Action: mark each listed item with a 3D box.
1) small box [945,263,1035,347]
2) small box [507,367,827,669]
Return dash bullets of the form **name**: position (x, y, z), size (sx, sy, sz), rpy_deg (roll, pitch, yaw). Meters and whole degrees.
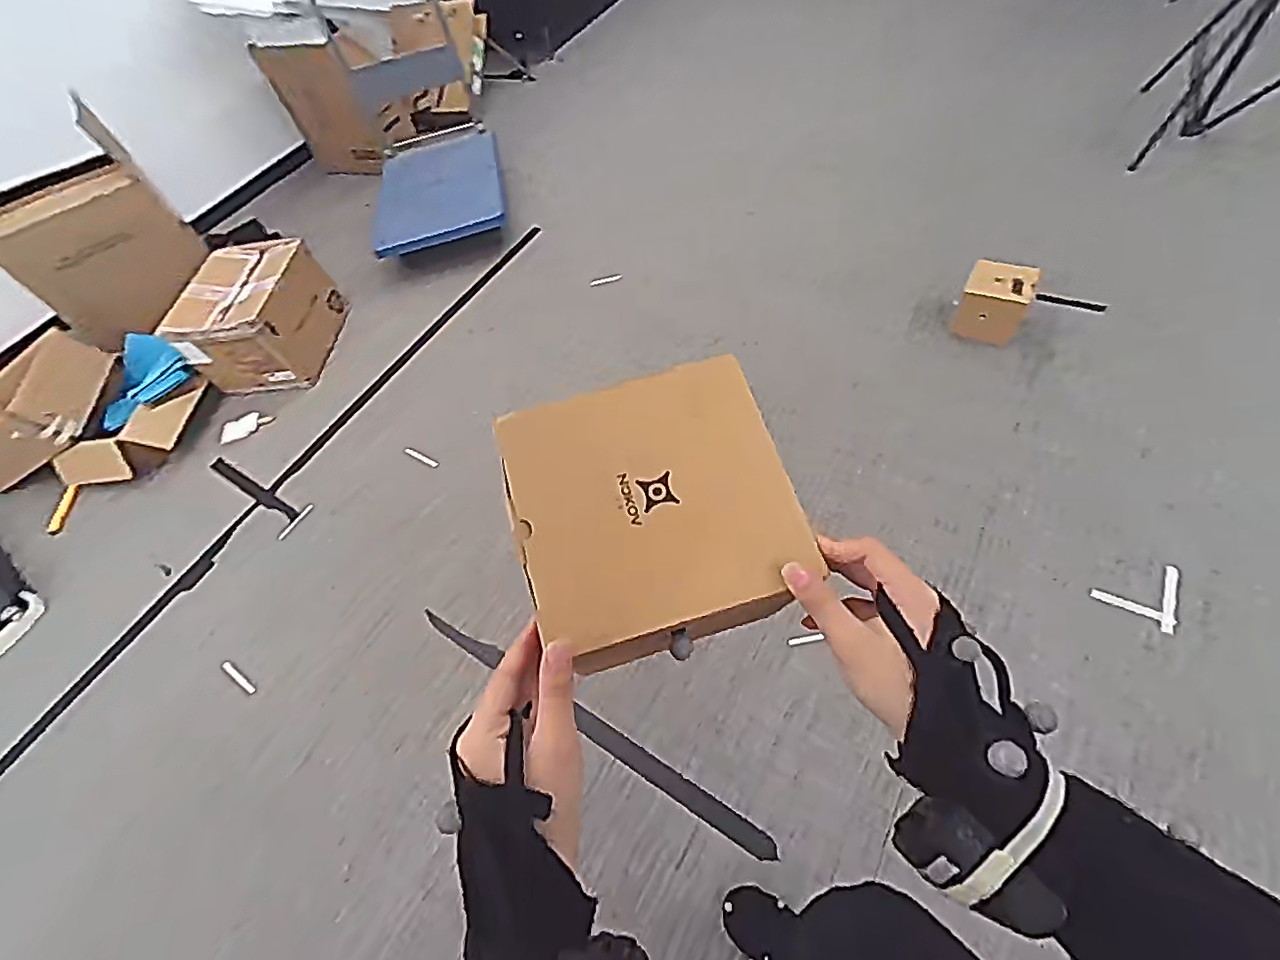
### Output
- **small box**: position (1.090, -0.544, 1.693), size (0.179, 0.176, 0.168), rpy_deg (23, 65, 25)
- **small box**: position (0.014, 0.042, 0.426), size (0.179, 0.176, 0.168), rpy_deg (-16, 69, -4)
